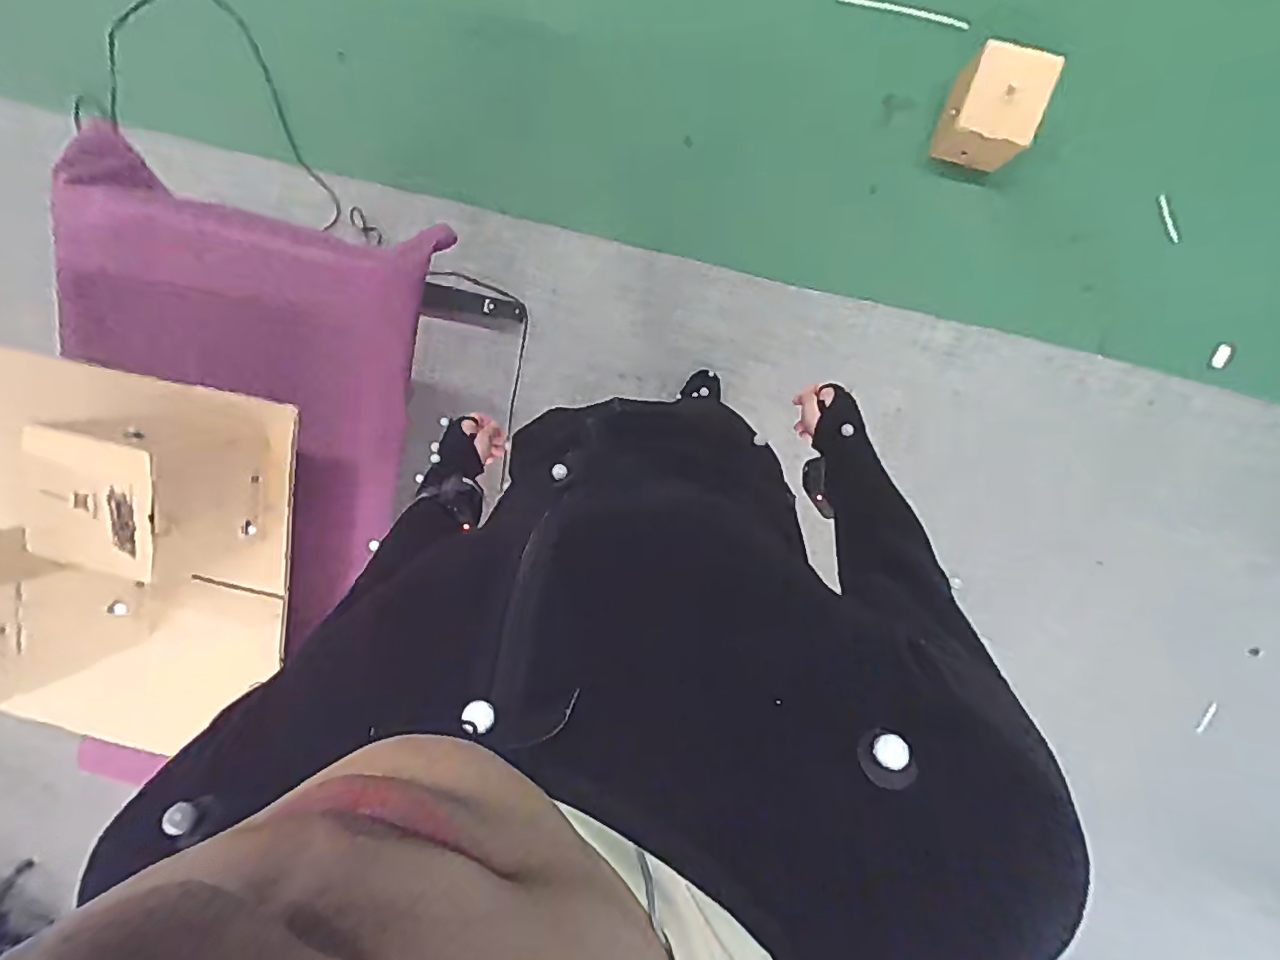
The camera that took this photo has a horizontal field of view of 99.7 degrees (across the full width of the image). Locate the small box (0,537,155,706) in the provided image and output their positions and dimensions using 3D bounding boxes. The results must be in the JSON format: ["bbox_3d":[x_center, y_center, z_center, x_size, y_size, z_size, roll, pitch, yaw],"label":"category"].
[{"bbox_3d":[-0.851,0.185,0.772,0.179,0.176,0.168,13,101,4],"label":"small box"}]

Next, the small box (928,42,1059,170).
[{"bbox_3d":[0.802,-0.854,1.250,0.168,0.176,0.179,16,105,3],"label":"small box"}]

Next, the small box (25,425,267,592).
[{"bbox_3d":[-0.636,0.025,0.718,0.179,0.176,0.168,12,102,5],"label":"small box"}]
